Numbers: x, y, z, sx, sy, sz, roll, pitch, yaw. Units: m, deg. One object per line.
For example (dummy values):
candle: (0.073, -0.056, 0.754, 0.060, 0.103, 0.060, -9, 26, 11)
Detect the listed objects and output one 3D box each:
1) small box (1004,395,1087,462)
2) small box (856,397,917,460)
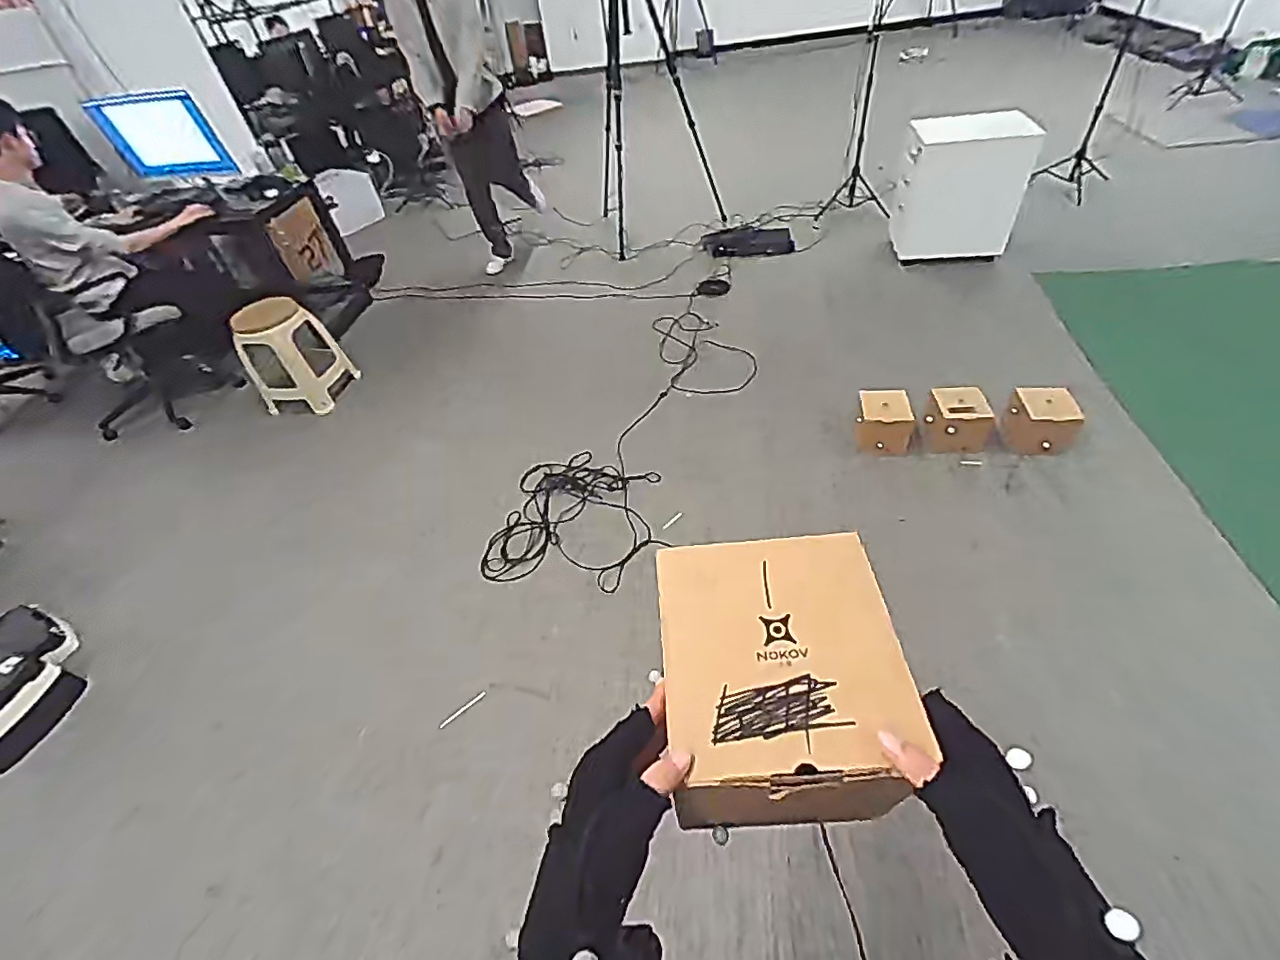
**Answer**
small box: (1.437, -0.185, 1.933, 0.168, 0.176, 0.179, 1, 47, 11)
small box: (0.916, -0.194, 2.027, 0.168, 0.176, 0.179, 1, 47, 11)
